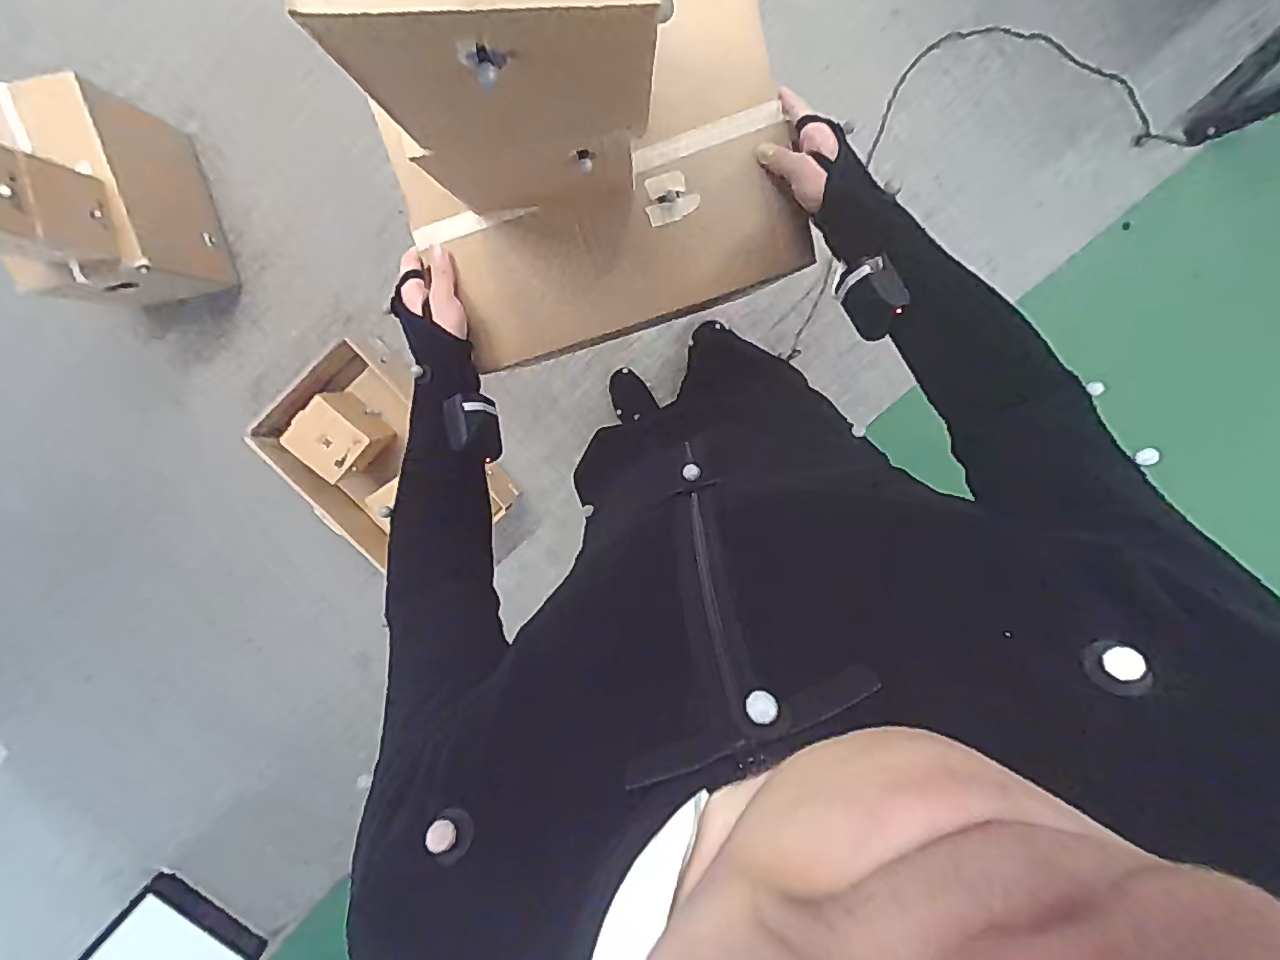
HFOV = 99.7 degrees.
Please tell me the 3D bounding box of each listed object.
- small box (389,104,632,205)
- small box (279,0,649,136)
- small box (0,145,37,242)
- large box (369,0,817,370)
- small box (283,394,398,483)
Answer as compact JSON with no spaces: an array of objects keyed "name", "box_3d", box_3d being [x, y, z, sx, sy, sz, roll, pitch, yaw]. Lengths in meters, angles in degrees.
[{"name":"small box","box_3d":[-0.101,-0.349,0.460,0.179,0.176,0.168,-6,103,1]},{"name":"small box","box_3d":[-0.083,-0.312,0.300,0.179,0.176,0.168,-1,104,0]},{"name":"small box","box_3d":[-1.248,-0.522,0.949,0.179,0.176,0.168,-2,102,-1]},{"name":"large box","box_3d":[-0.044,-0.358,0.707,0.408,0.320,0.320,-18,104,4]},{"name":"small box","box_3d":[-0.806,-0.119,1.470,0.179,0.176,0.168,43,99,-8]}]
